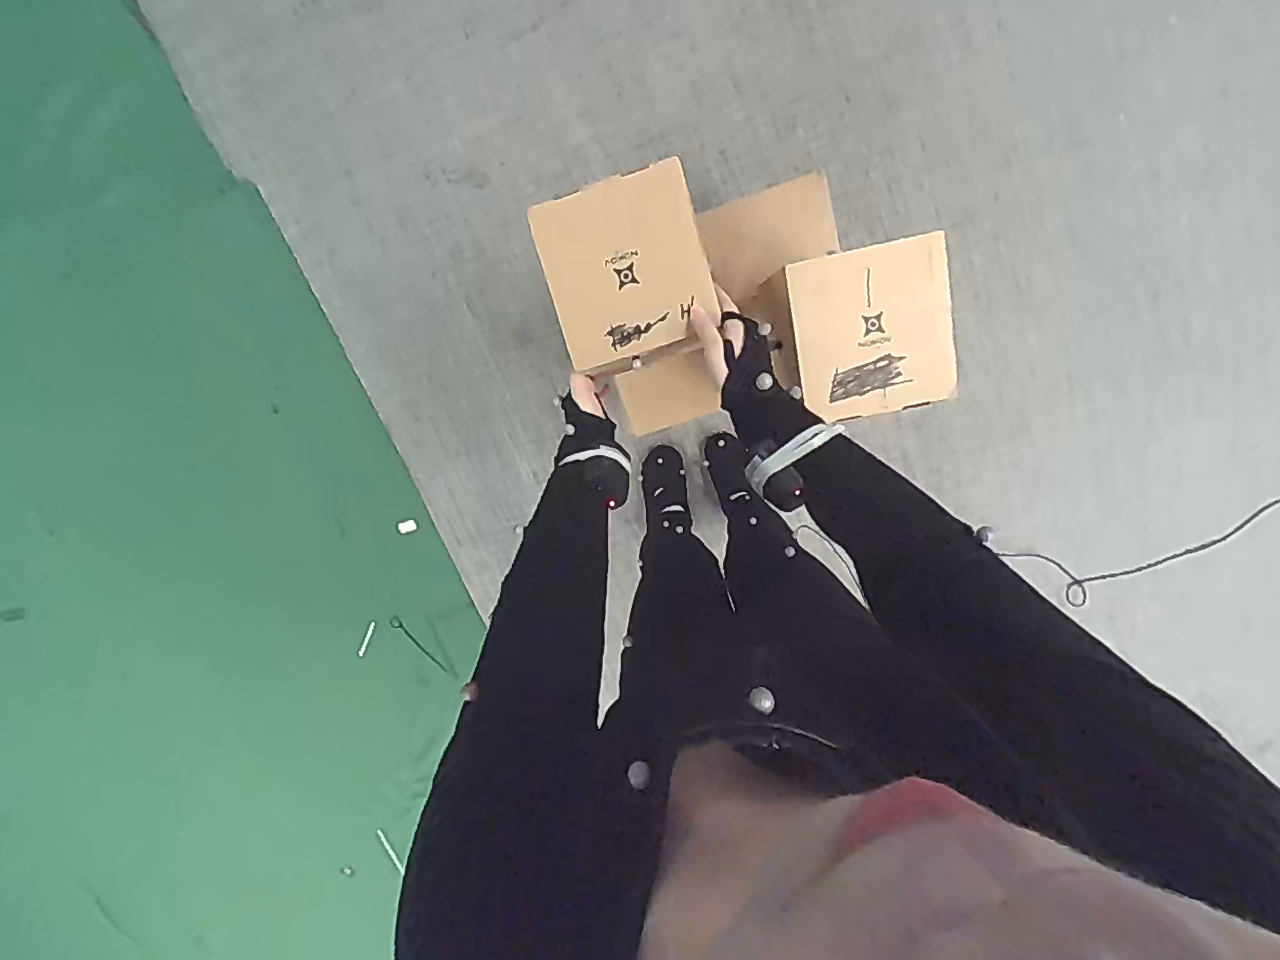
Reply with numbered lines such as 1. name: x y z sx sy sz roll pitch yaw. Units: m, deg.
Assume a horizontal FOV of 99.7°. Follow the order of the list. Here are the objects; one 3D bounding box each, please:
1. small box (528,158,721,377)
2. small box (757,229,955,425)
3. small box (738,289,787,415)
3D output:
1. small box: -0.010 -0.229 0.635 0.168 0.176 0.179 -15 96 7
2. small box: 0.245 -0.174 0.647 0.168 0.176 0.179 -11 100 4
3. small box: 0.252 -0.206 0.809 0.168 0.176 0.179 -15 101 6
